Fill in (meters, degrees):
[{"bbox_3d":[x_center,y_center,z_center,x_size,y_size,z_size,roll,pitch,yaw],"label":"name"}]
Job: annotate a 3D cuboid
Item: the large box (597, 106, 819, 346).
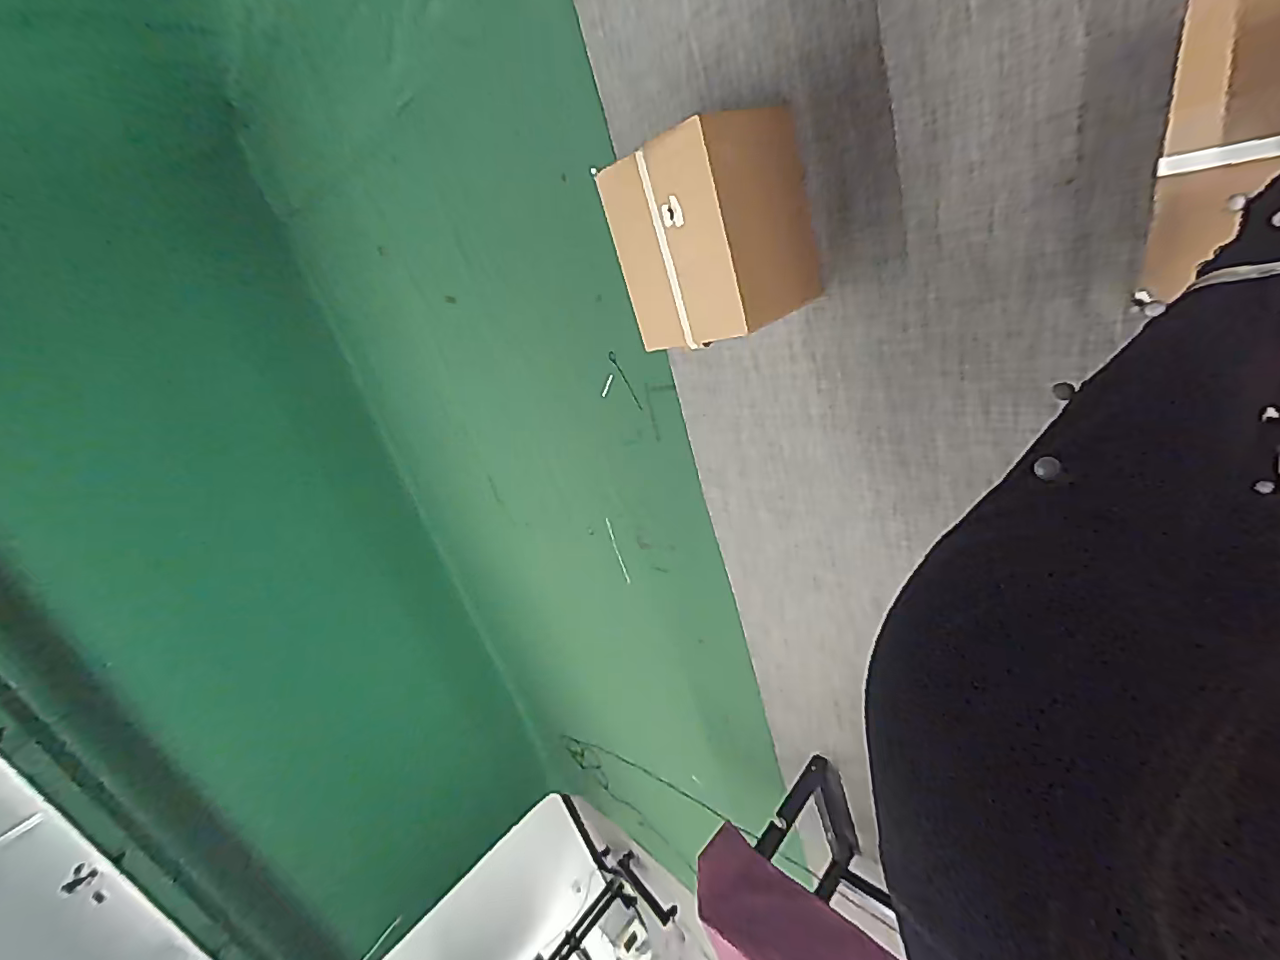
[{"bbox_3d":[0.164,-0.555,1.226,0.320,0.320,0.408,7,121,48],"label":"large box"}]
